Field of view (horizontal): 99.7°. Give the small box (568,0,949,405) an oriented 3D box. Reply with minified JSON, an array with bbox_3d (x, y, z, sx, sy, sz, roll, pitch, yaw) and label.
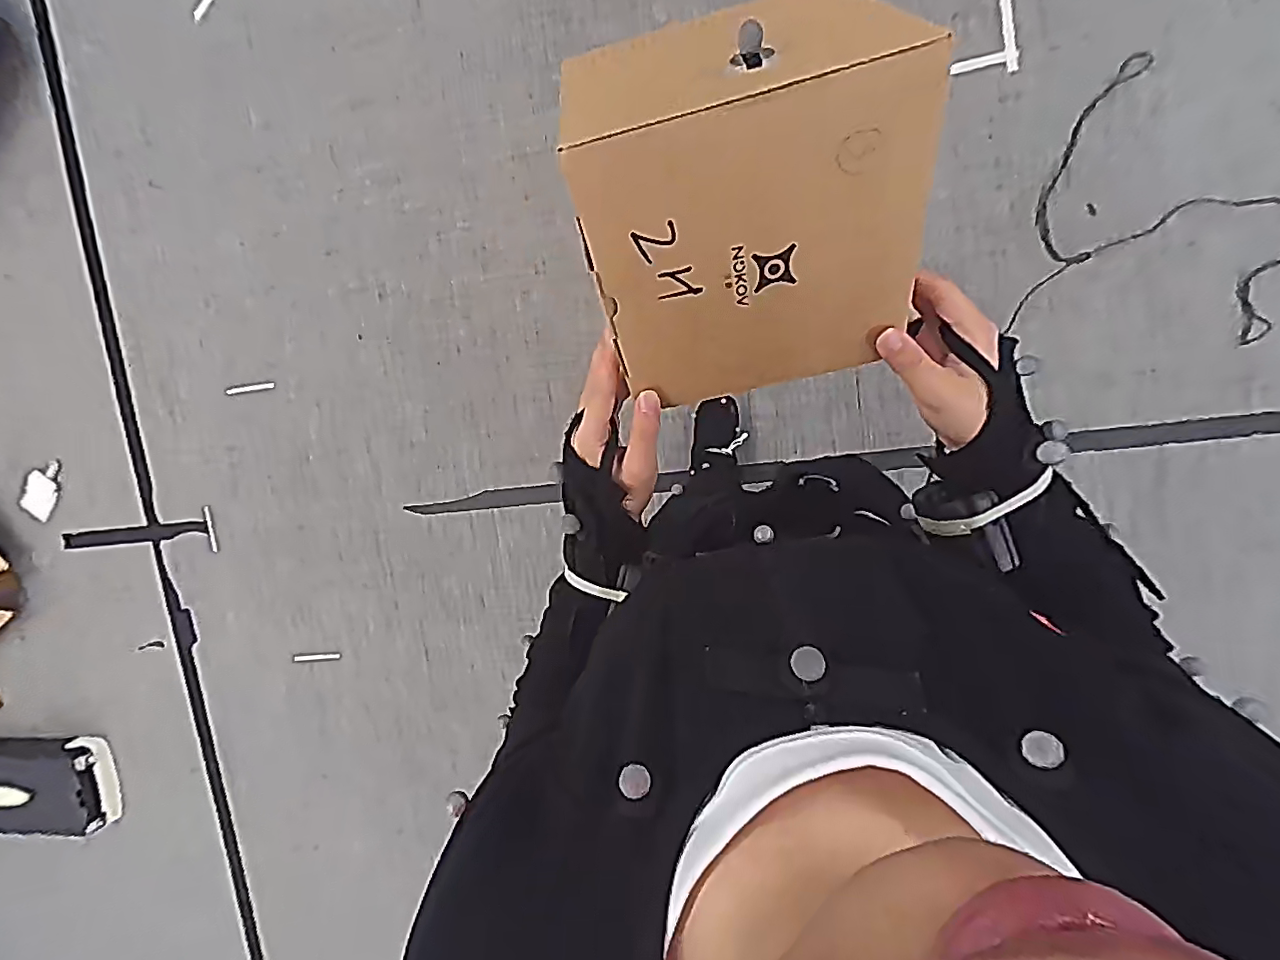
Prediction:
[{"bbox_3d":[0.059,-0.179,0.350,0.179,0.176,0.168,-11,138,7],"label":"small box"}]
